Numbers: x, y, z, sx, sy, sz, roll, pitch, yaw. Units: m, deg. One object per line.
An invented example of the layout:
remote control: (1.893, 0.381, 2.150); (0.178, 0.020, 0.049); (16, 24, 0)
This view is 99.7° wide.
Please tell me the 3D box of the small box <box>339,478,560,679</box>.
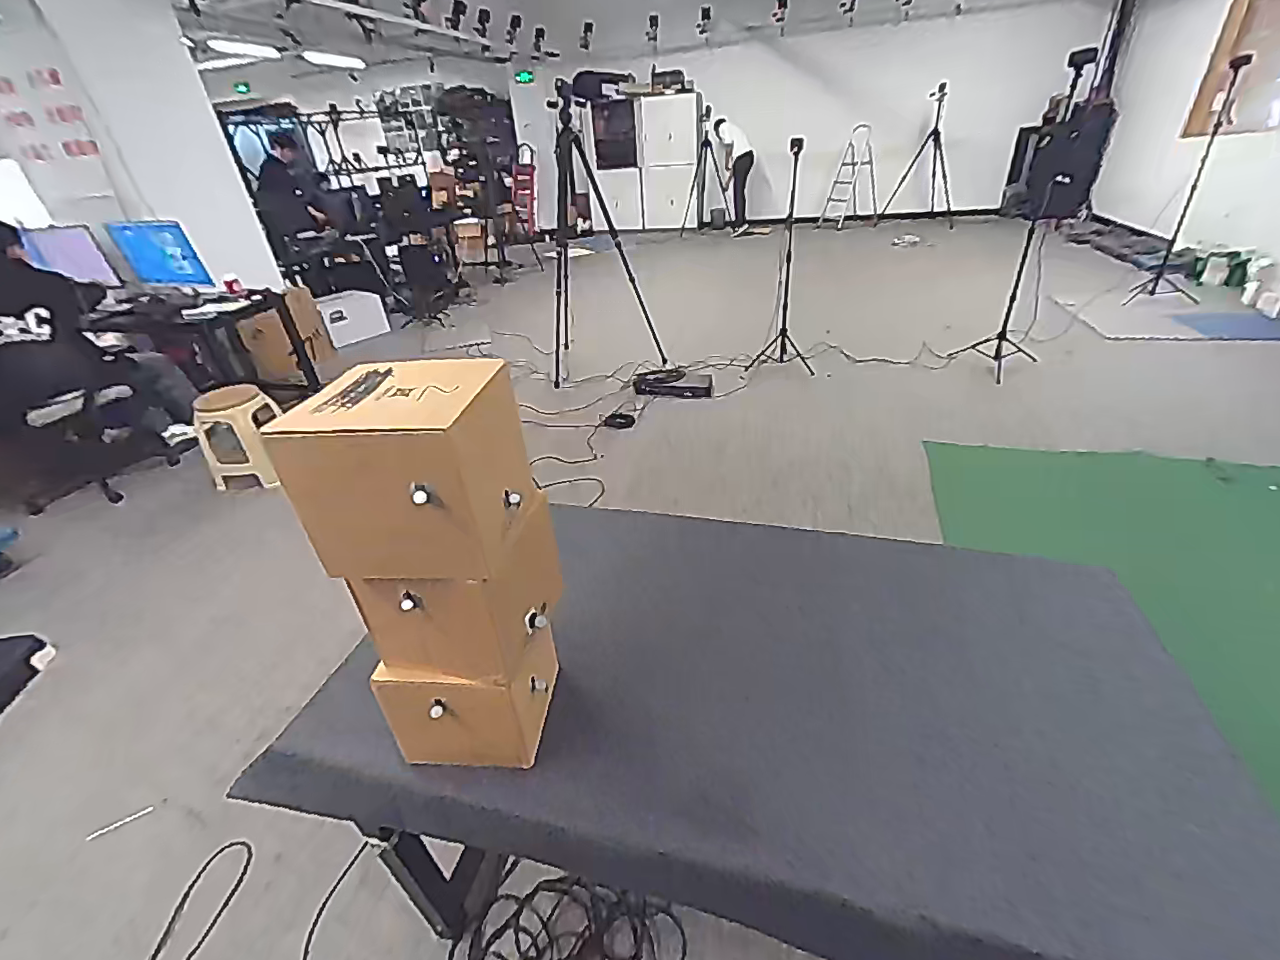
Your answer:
small box: (-0.213, 0.116, 0.657); (0.179, 0.176, 0.168); (5, 34, 13)

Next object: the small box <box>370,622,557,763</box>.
small box: (-0.220, 0.259, 0.734); (0.179, 0.176, 0.168); (-1, 32, 7)
